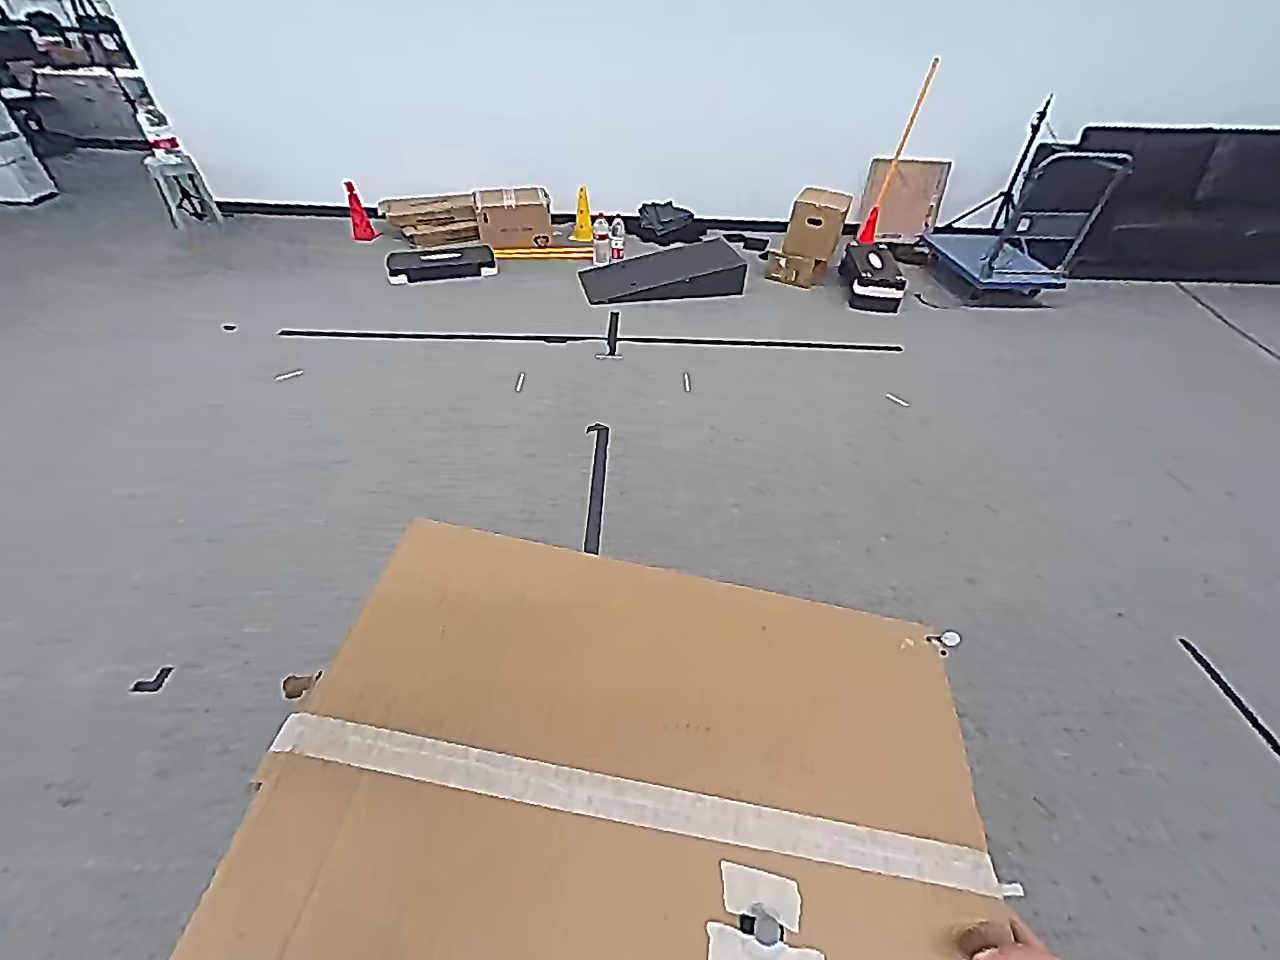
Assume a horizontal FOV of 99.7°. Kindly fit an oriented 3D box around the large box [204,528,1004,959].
[{"bbox_3d":[-0.016,0.284,0.427,0.408,0.320,0.320,13,49,-1],"label":"large box"}]
